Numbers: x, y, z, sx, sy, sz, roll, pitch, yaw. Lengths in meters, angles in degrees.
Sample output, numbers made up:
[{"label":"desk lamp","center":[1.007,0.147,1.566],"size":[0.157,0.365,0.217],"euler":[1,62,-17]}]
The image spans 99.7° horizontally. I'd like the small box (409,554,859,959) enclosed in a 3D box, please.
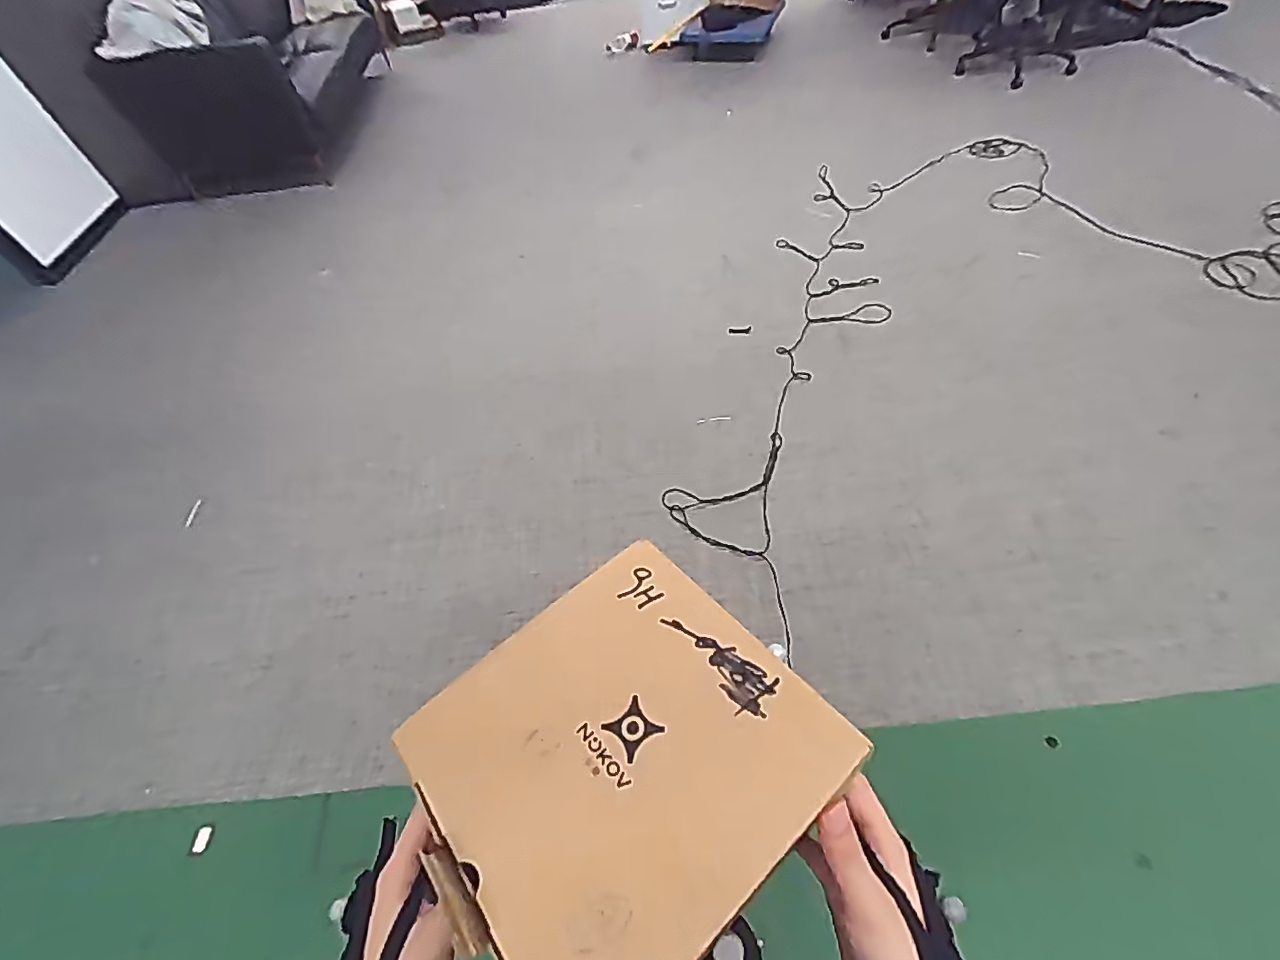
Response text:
[{"label":"small box","center":[0.002,0.188,0.332],"size":[0.179,0.176,0.168],"euler":[-36,54,-21]}]
